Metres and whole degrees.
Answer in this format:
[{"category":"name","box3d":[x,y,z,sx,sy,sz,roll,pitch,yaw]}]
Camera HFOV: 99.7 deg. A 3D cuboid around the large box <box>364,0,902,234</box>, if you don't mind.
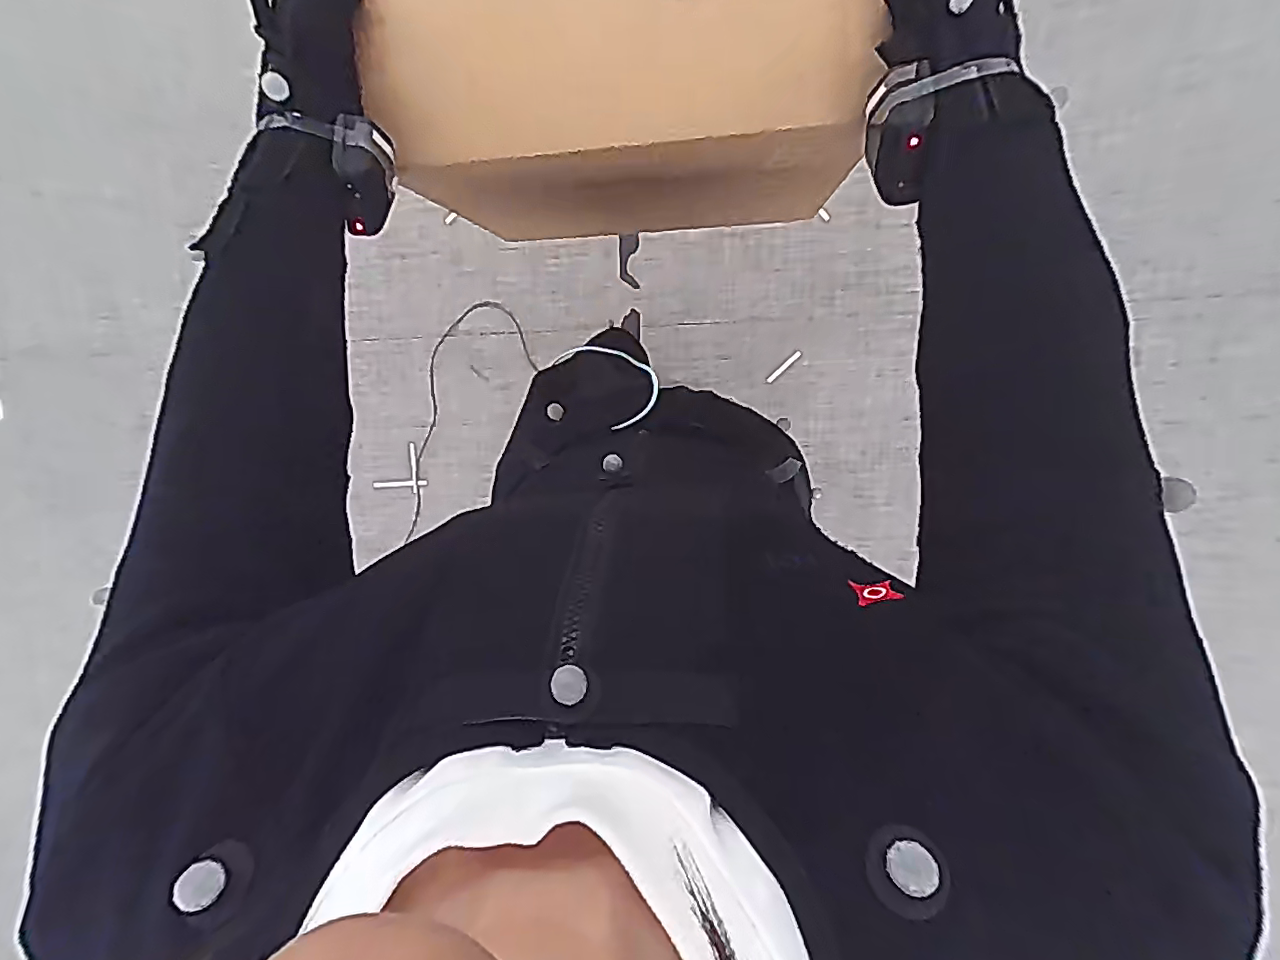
[{"category":"large box","box3d":[-0.004,-0.451,0.527,0.408,0.320,0.320,-2,104,6]}]
